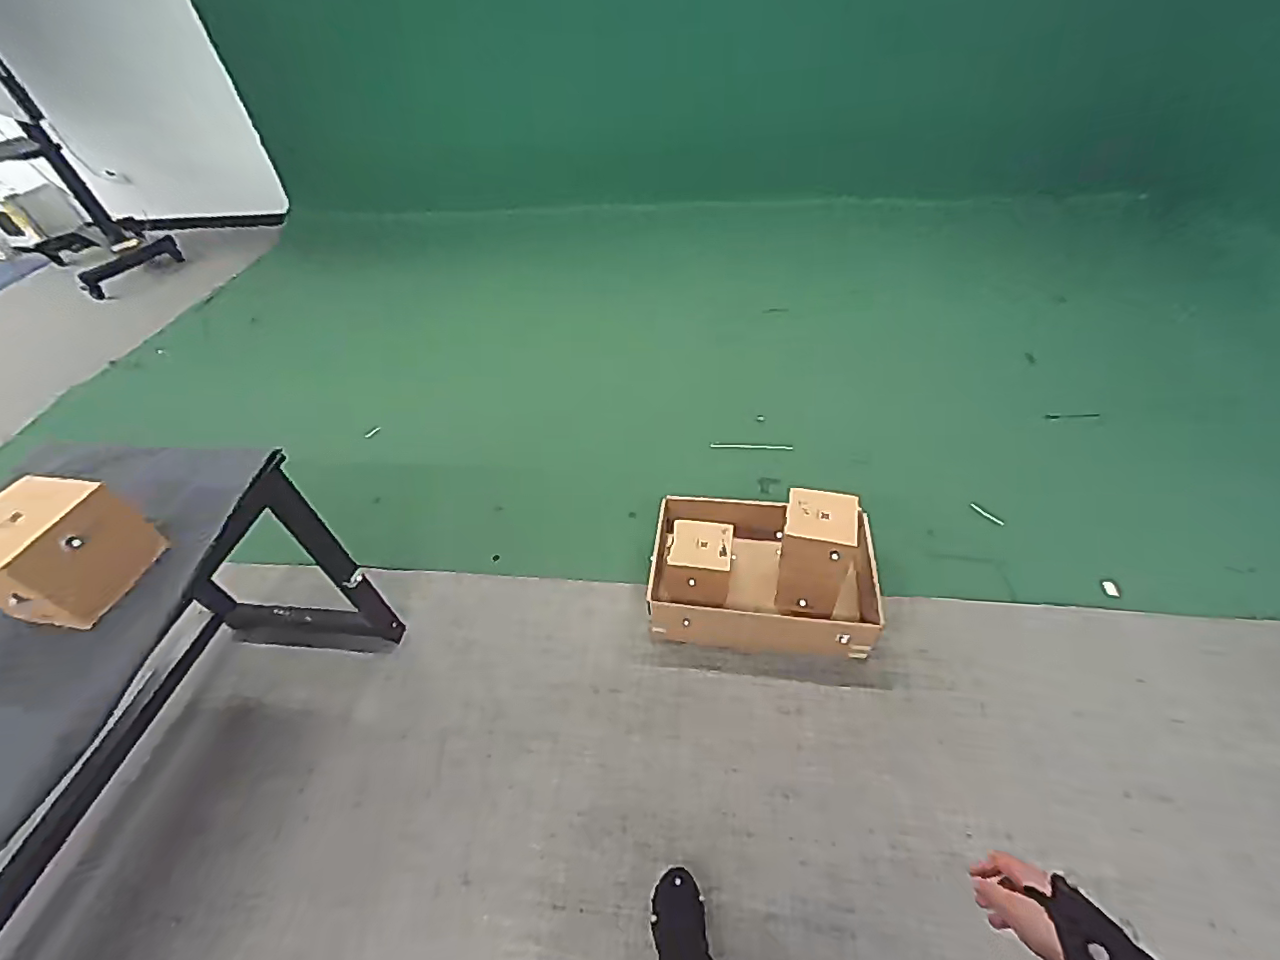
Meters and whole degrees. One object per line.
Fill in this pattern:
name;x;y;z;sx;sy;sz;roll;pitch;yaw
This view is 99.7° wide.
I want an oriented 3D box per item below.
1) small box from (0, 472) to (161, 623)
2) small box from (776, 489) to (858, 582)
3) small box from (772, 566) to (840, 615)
small box;-0.953;0.111;0.875;0.168;0.176;0.179;5;46;10
small box;0.466;0.149;1.434;0.179;0.176;0.168;9;48;14
small box;0.478;0.258;1.557;0.168;0.176;0.179;8;49;14
